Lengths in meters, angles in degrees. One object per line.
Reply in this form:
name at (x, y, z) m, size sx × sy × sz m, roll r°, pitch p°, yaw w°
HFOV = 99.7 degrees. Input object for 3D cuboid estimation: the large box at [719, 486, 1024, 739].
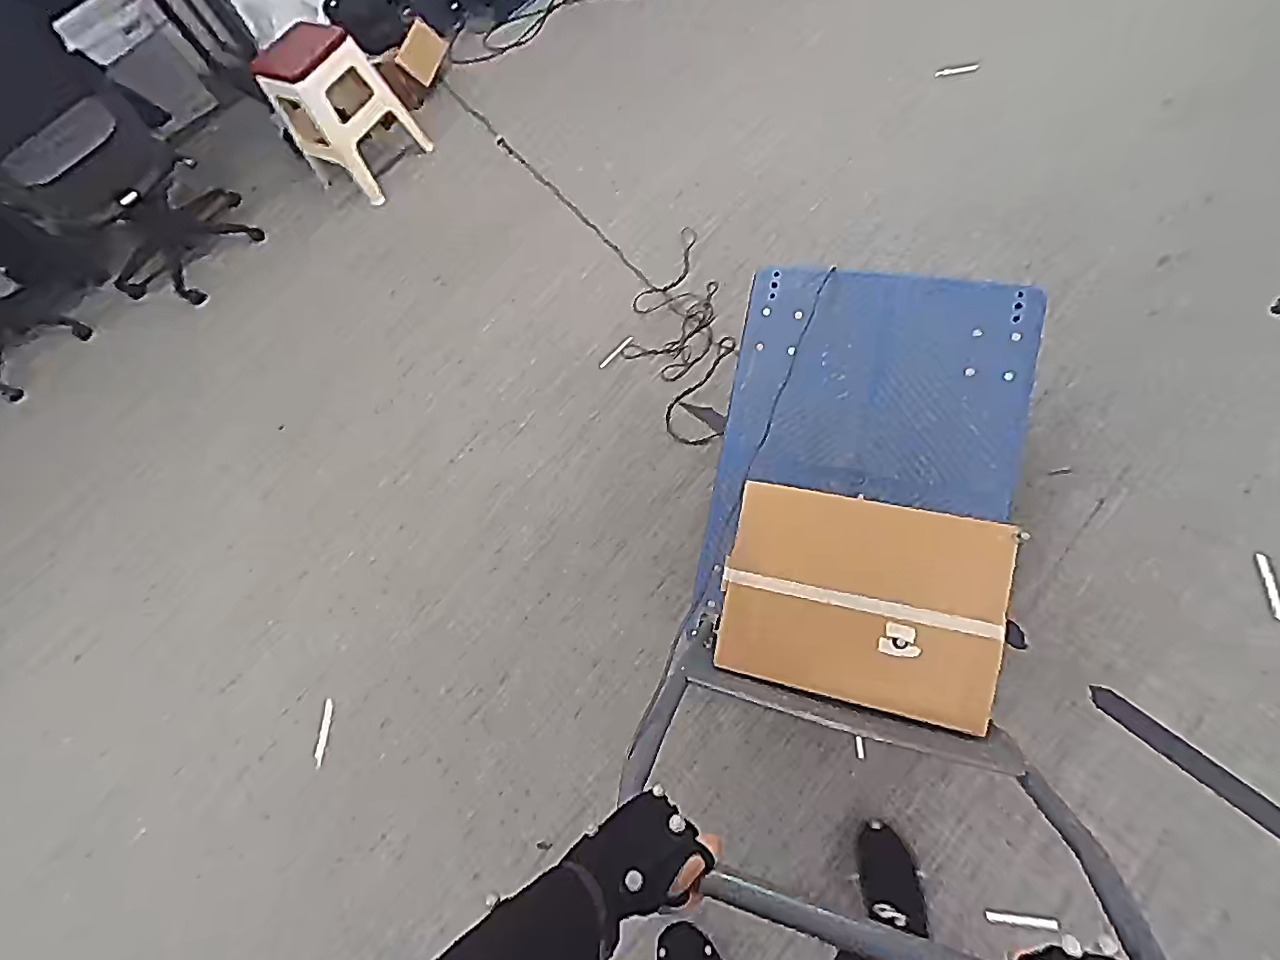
large box at (0.372, 0.200, 0.965) m, size 0.408 × 0.320 × 0.320 m, roll 10°, pitch 90°, yaw 14°
